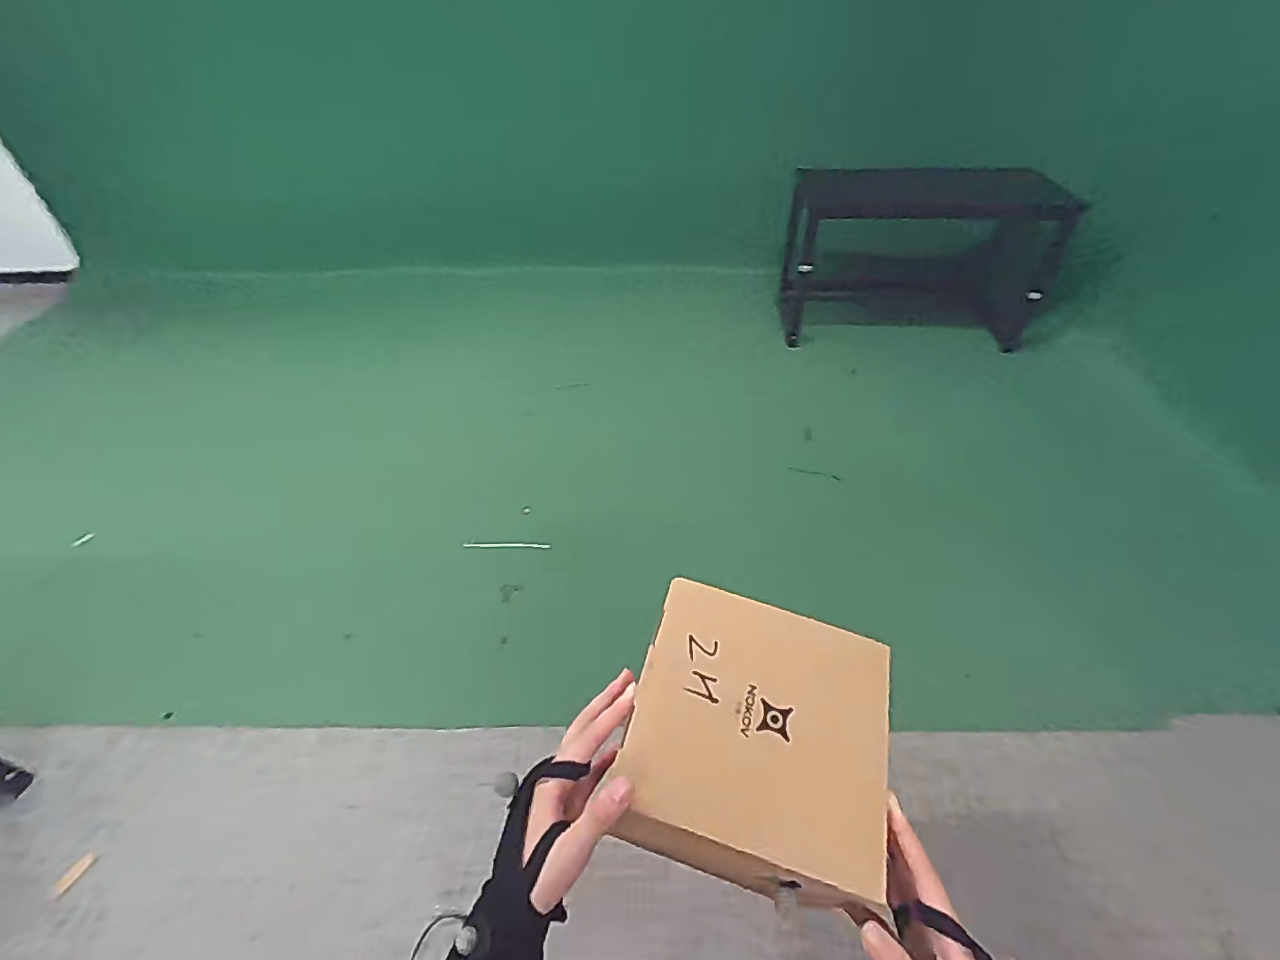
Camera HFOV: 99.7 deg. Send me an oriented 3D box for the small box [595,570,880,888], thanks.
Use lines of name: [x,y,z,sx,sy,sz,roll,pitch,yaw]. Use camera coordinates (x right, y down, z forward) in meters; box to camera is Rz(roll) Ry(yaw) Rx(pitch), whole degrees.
small box: [0.072,0.204,0.441,0.179,0.176,0.168,16,52,7]
